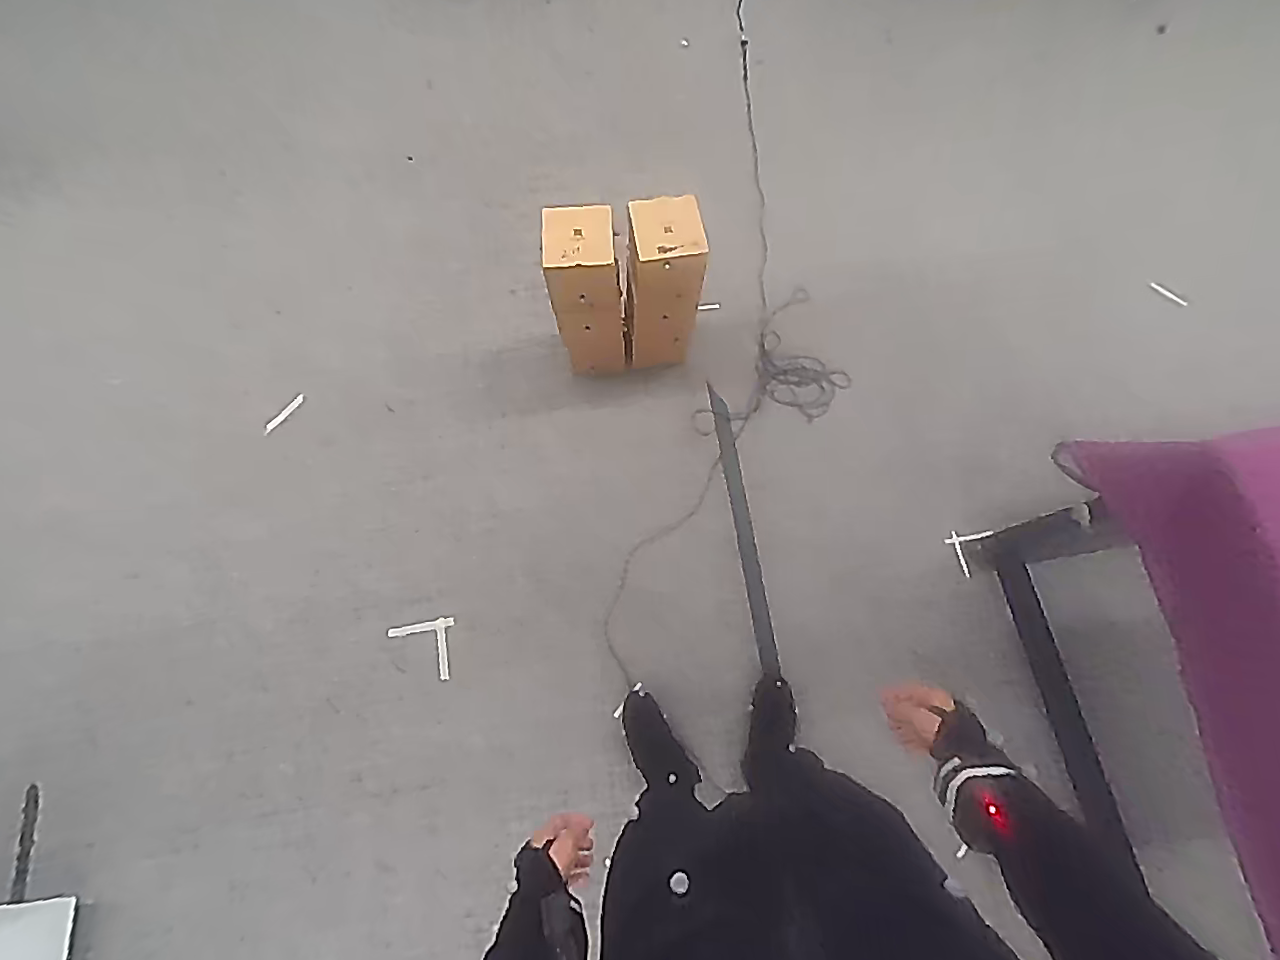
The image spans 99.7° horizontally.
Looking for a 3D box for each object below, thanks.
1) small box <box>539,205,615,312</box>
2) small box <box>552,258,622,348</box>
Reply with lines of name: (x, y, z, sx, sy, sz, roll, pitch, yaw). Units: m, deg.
small box: (-0.149, -0.534, 1.318, 0.168, 0.176, 0.179, -4, 72, 0)
small box: (-0.141, -0.477, 1.472, 0.179, 0.176, 0.168, -5, 72, 1)
